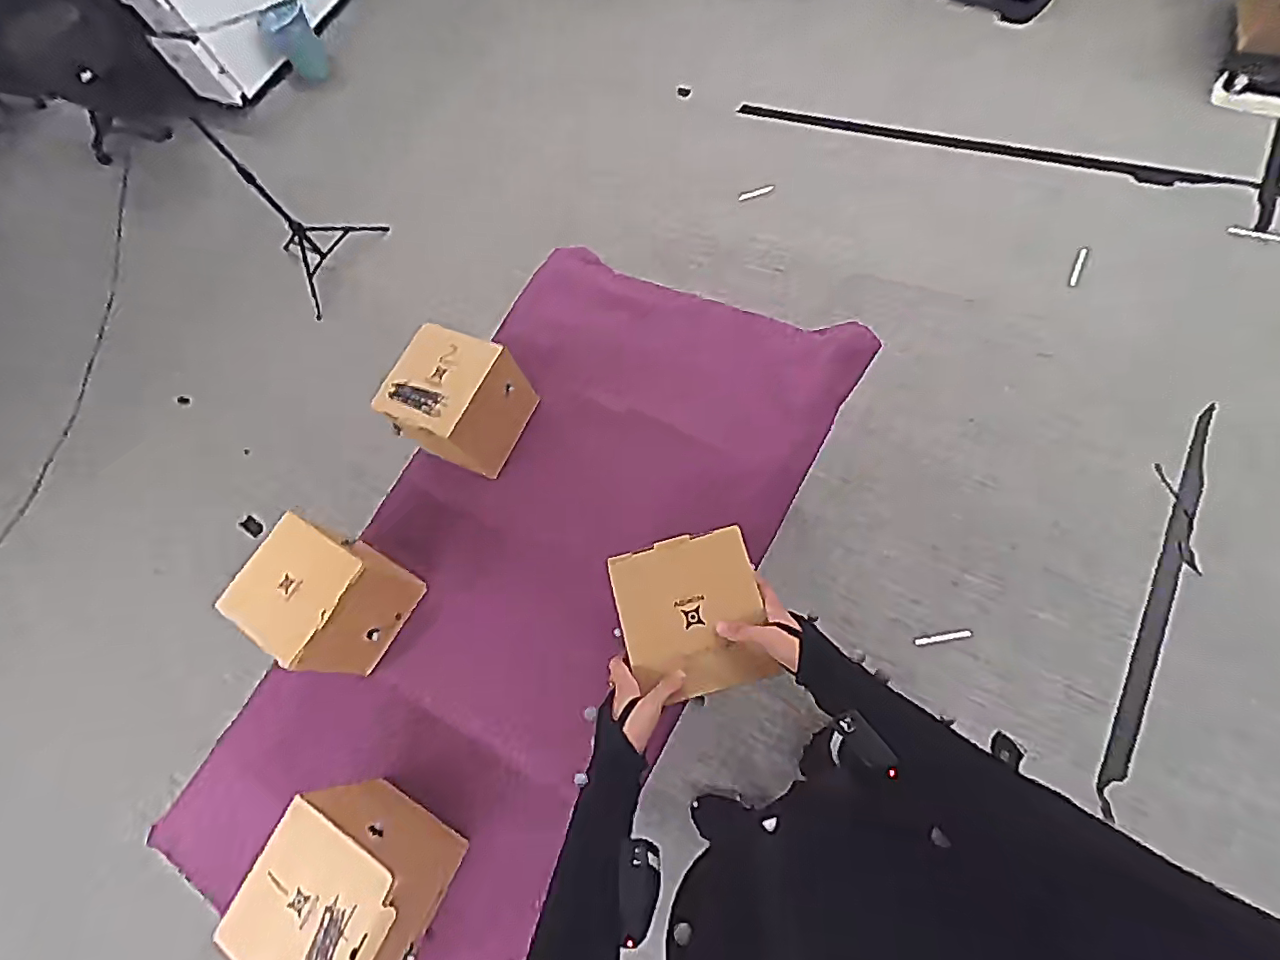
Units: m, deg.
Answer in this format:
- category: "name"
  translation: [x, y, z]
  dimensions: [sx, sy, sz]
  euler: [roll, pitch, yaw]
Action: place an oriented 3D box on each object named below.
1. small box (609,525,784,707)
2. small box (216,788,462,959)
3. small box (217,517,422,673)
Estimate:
- category: "small box"
  translation: [0.065, 0.178, 0.691]
  dimensions: [0.168, 0.176, 0.179]
  euler: [-15, 71, 0]
- category: "small box"
  translation: [-0.364, 0.519, 0.687]
  dimensions: [0.179, 0.176, 0.168]
  euler: [21, 74, 20]
- category: "small box"
  translation: [-0.487, 0.187, 0.845]
  dimensions: [0.179, 0.176, 0.168]
  euler: [26, 75, 19]
